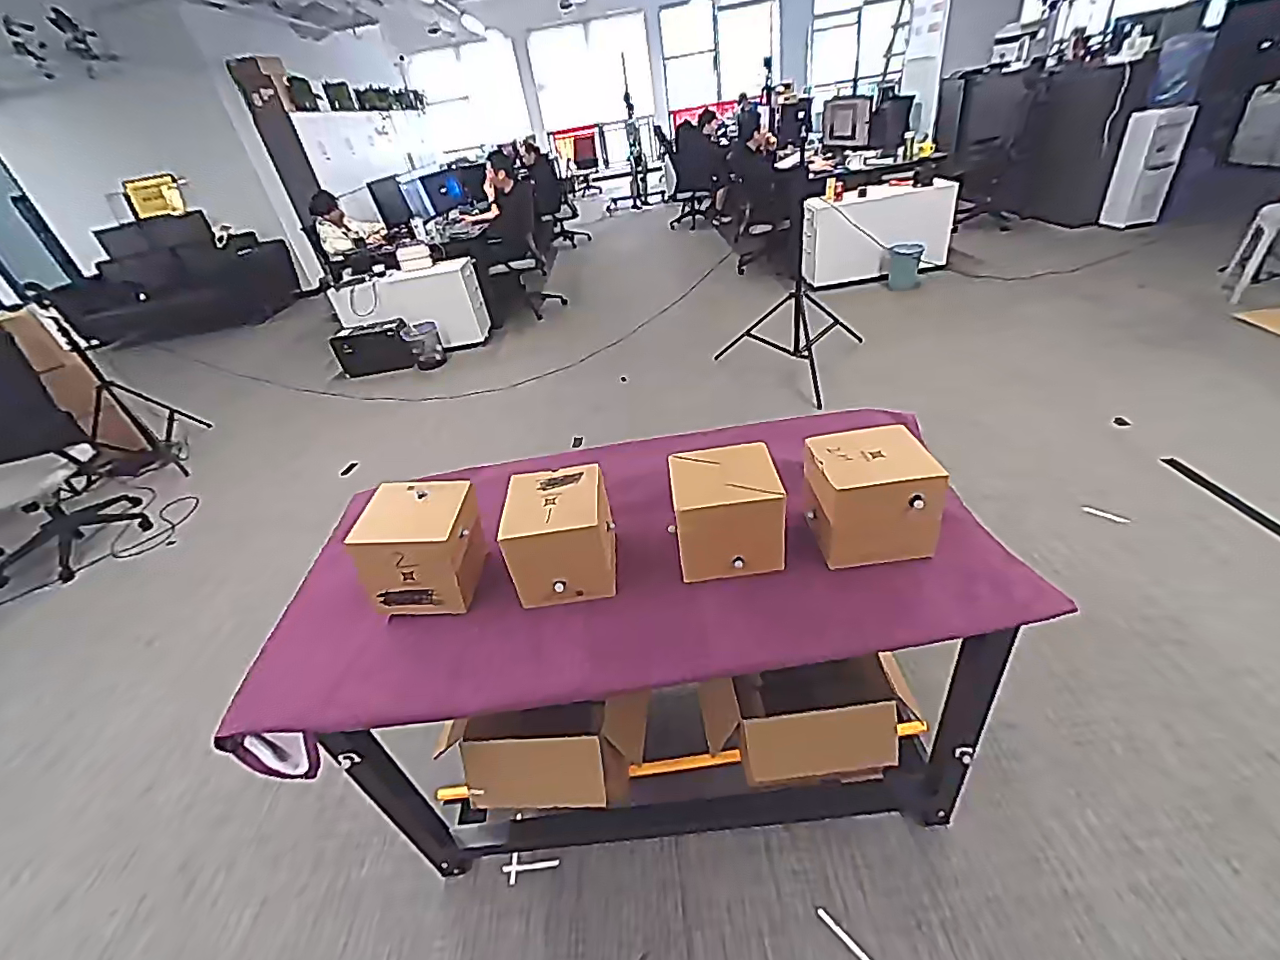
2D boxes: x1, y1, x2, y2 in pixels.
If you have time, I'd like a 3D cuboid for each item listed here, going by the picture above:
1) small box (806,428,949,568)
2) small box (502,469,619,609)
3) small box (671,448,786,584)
[{"bbox_3d":[0.395,0.032,0.934,0.179,0.176,0.168,-8,32,4],"label":"small box"},{"bbox_3d":[-0.133,0.105,0.973,0.168,0.176,0.179,-9,35,3],"label":"small box"},{"bbox_3d":[0.152,0.059,0.958,0.179,0.176,0.168,-8,33,4],"label":"small box"}]
